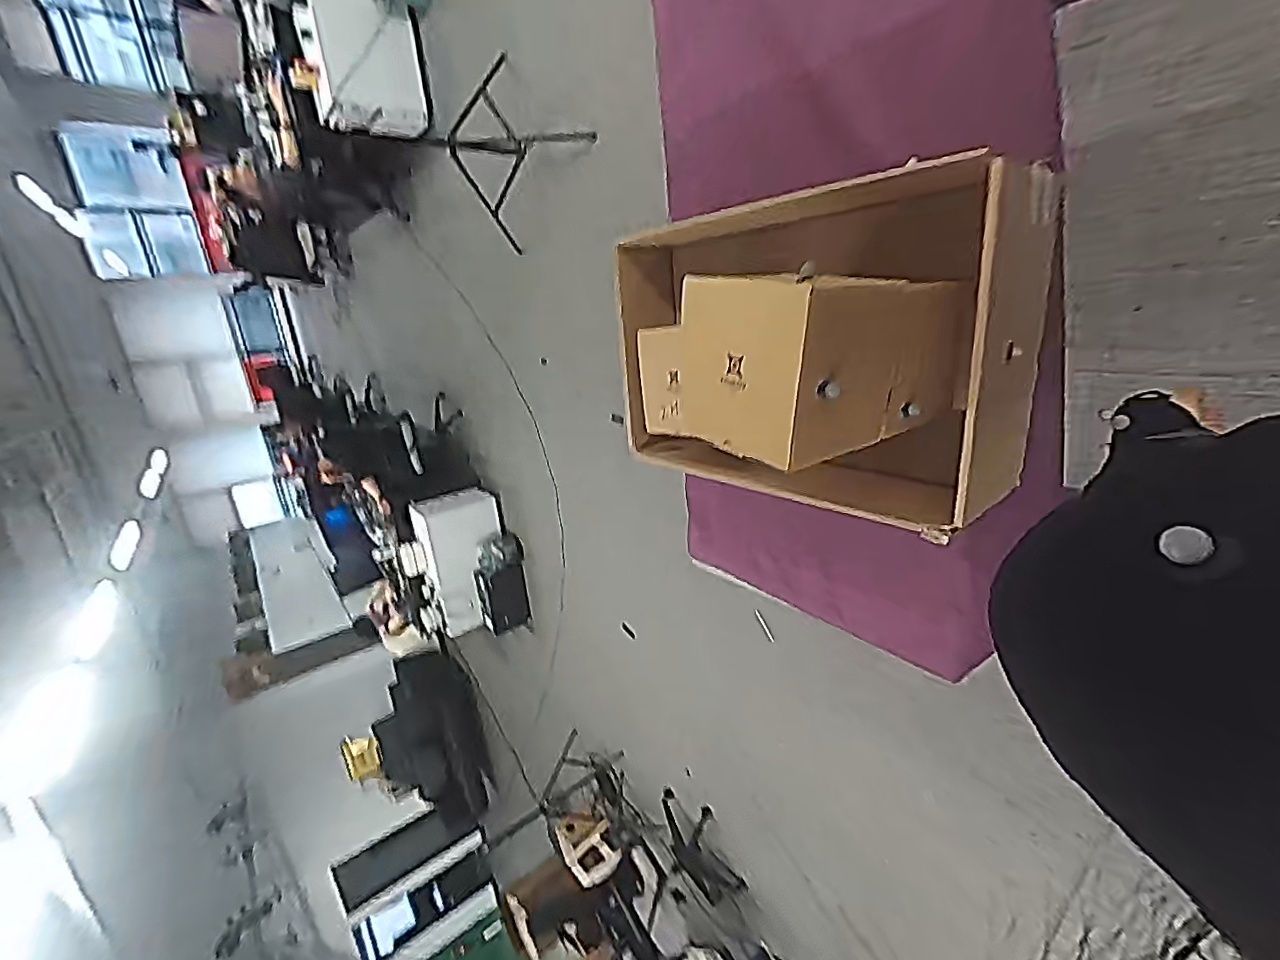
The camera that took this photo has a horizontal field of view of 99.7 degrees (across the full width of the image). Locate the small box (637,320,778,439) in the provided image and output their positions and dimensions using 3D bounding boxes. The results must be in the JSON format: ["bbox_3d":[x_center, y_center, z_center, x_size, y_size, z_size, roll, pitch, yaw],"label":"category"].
[{"bbox_3d":[0.117,-0.174,0.912,0.168,0.176,0.179,12,113,51],"label":"small box"}]
